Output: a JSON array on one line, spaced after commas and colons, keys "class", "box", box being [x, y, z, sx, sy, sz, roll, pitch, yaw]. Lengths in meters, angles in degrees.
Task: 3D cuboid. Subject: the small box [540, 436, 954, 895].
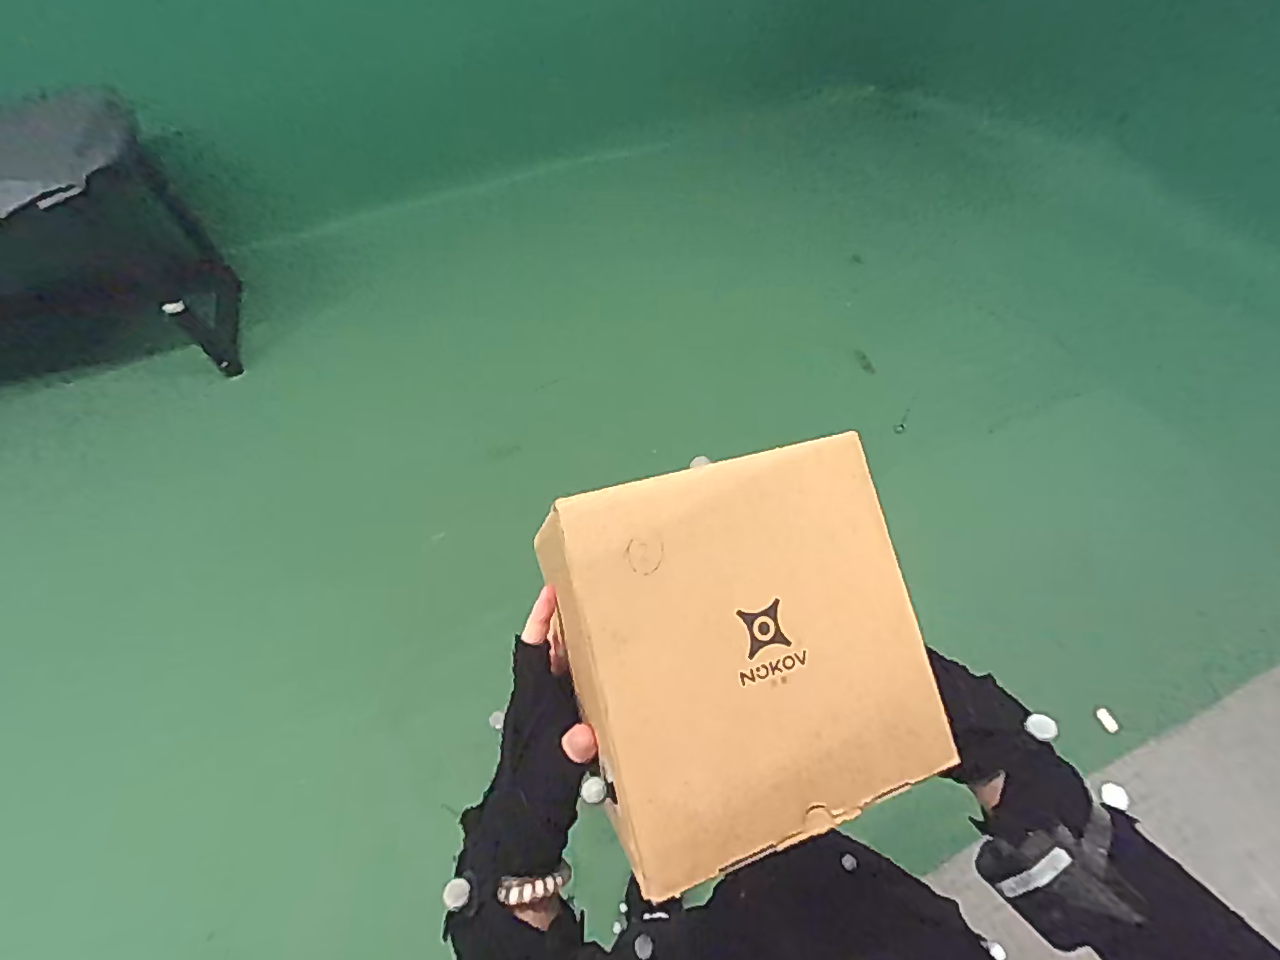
[{"class": "small box", "box": [0.041, 0.089, 0.333, 0.168, 0.176, 0.179, -13, 84, -16]}]
